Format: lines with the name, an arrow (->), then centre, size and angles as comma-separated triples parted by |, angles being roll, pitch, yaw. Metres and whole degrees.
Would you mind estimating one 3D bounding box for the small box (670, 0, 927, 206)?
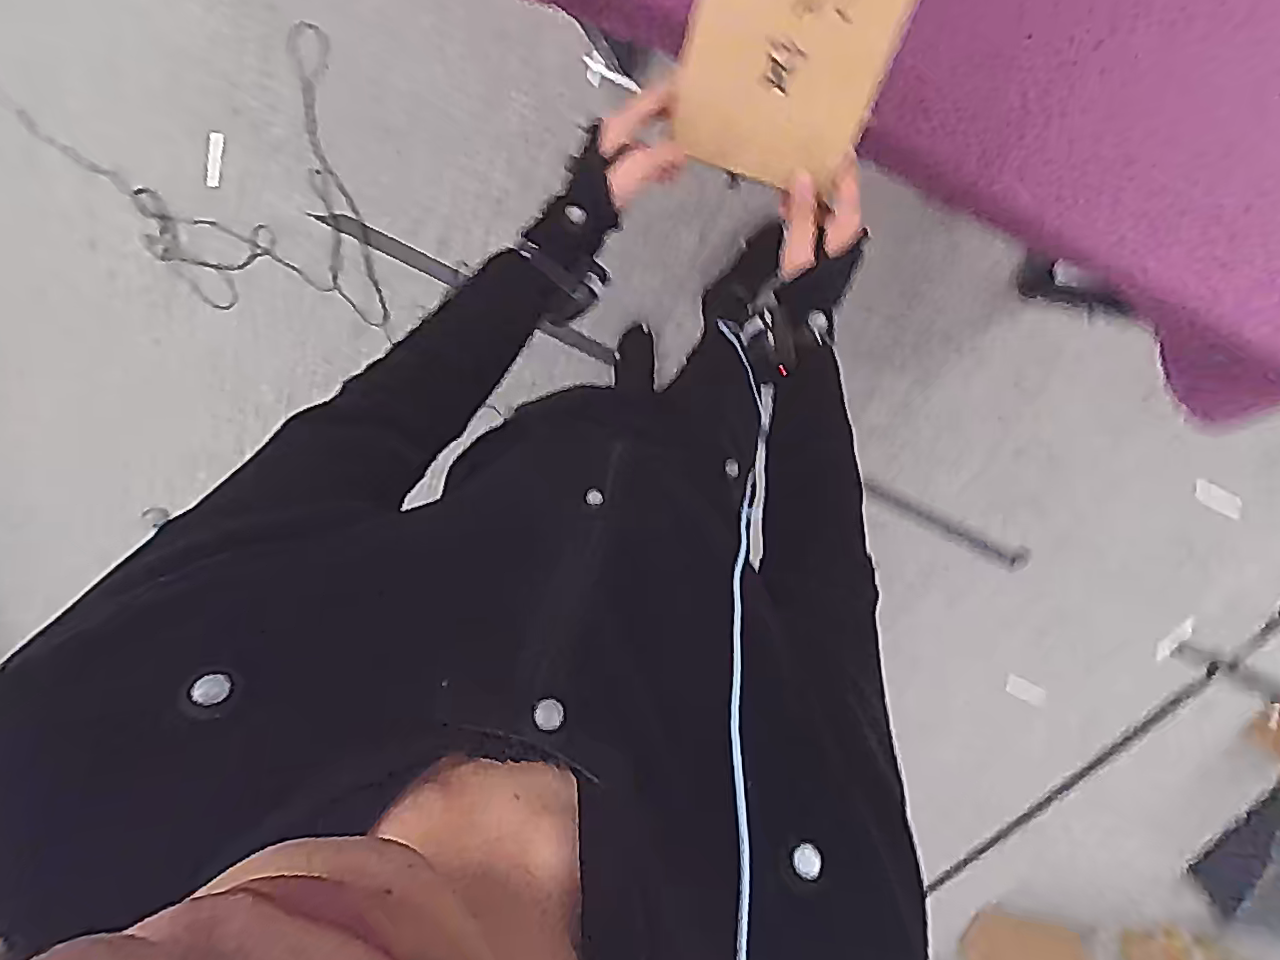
small box -> 0.139, -0.388, 0.523 | 0.168, 0.176, 0.179 | 19, 120, -3
